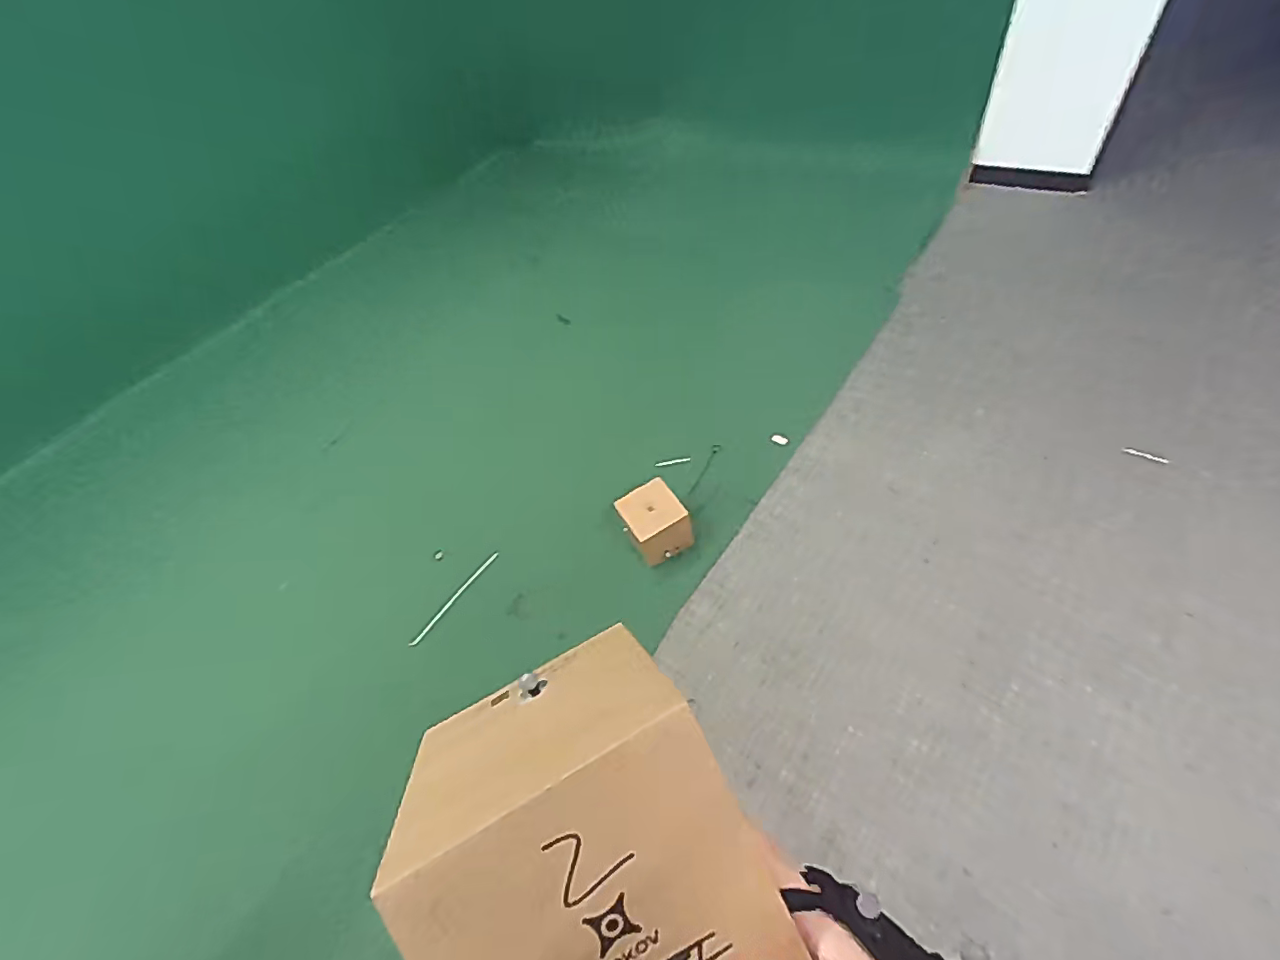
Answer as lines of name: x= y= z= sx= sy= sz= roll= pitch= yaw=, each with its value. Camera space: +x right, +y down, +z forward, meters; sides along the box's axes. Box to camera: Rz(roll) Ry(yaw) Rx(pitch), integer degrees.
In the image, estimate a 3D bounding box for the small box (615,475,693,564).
small box: x=0.046 y=0.125 z=1.671 sx=0.168 sy=0.176 sz=0.179 roll=-30 pitch=52 yaw=-9
